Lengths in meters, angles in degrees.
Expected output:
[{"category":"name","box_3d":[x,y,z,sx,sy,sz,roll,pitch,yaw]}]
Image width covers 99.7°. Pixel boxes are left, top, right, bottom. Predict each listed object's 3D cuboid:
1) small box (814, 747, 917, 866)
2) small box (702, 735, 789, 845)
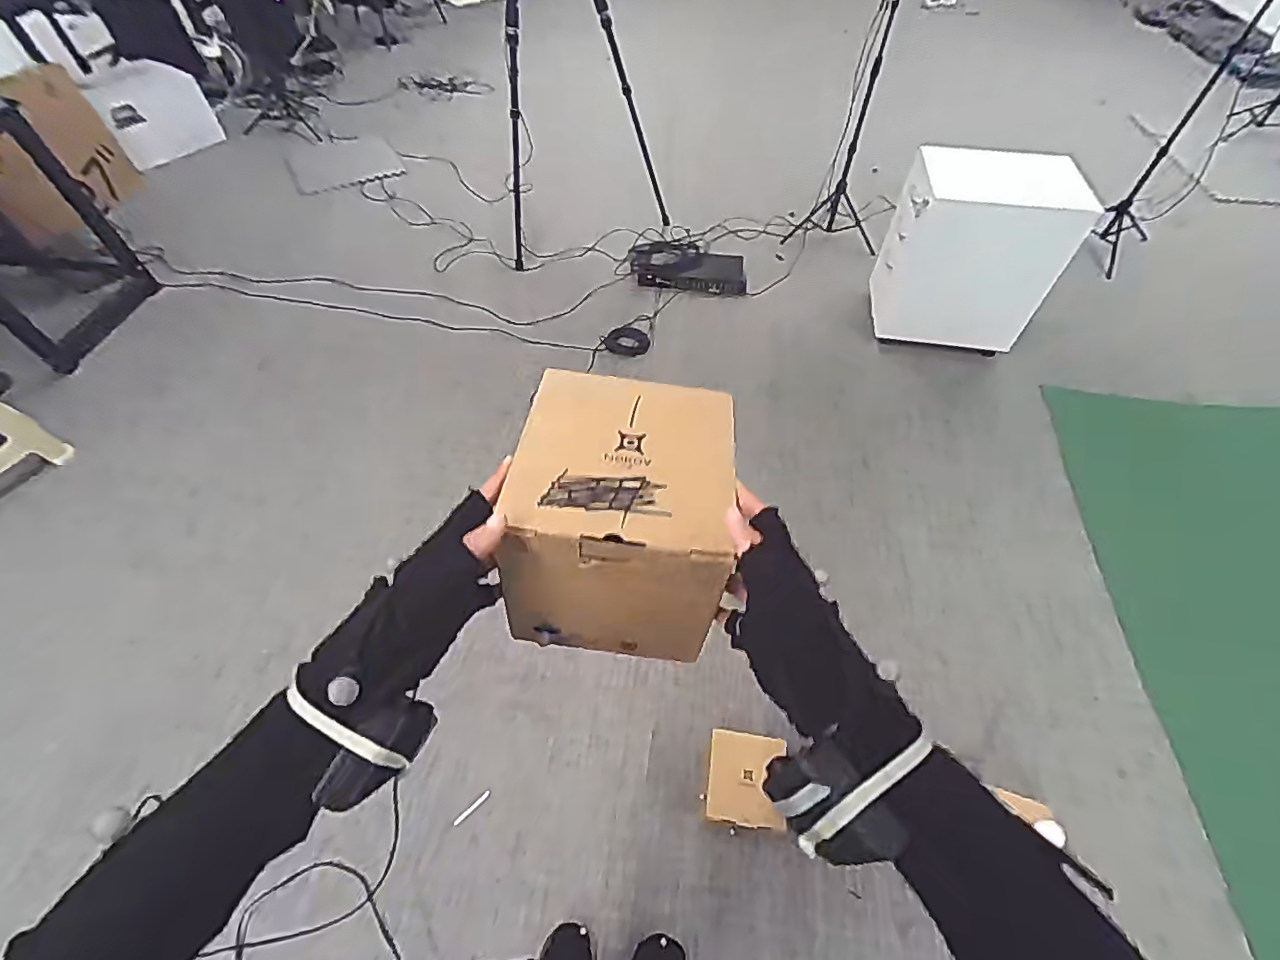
[{"category":"small box","box_3d":[0.486,0.714,1.180,0.168,0.176,0.179,13,55,11]},{"category":"small box","box_3d":[0.231,0.691,1.202,0.168,0.176,0.179,7,54,6]}]
